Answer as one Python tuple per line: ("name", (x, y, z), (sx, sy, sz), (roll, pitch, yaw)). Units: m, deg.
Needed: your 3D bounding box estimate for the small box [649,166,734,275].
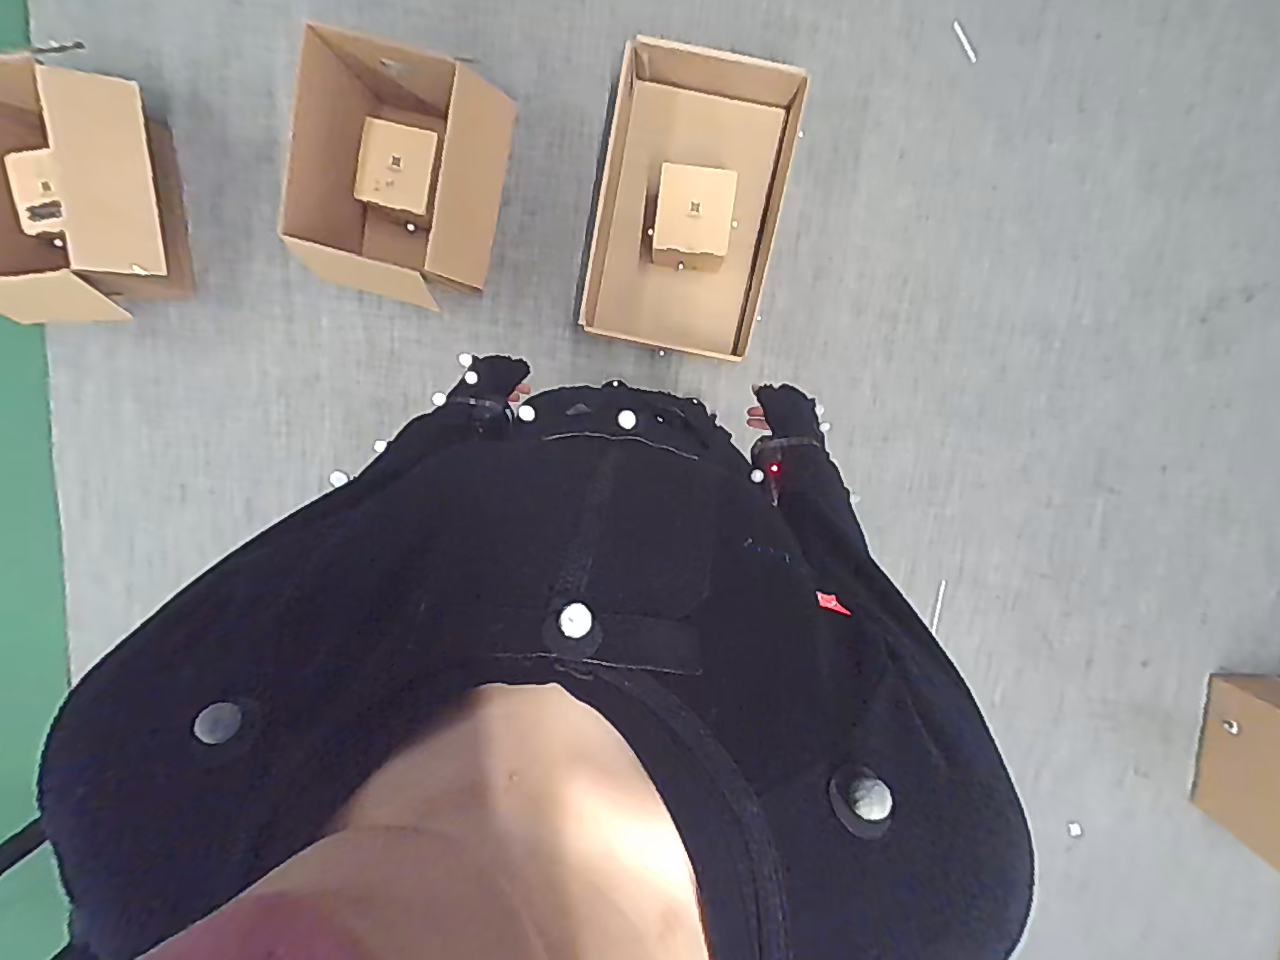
("small box", (0.111, -0.587, 1.243), (0.168, 0.176, 0.179), (6, 99, 0))
